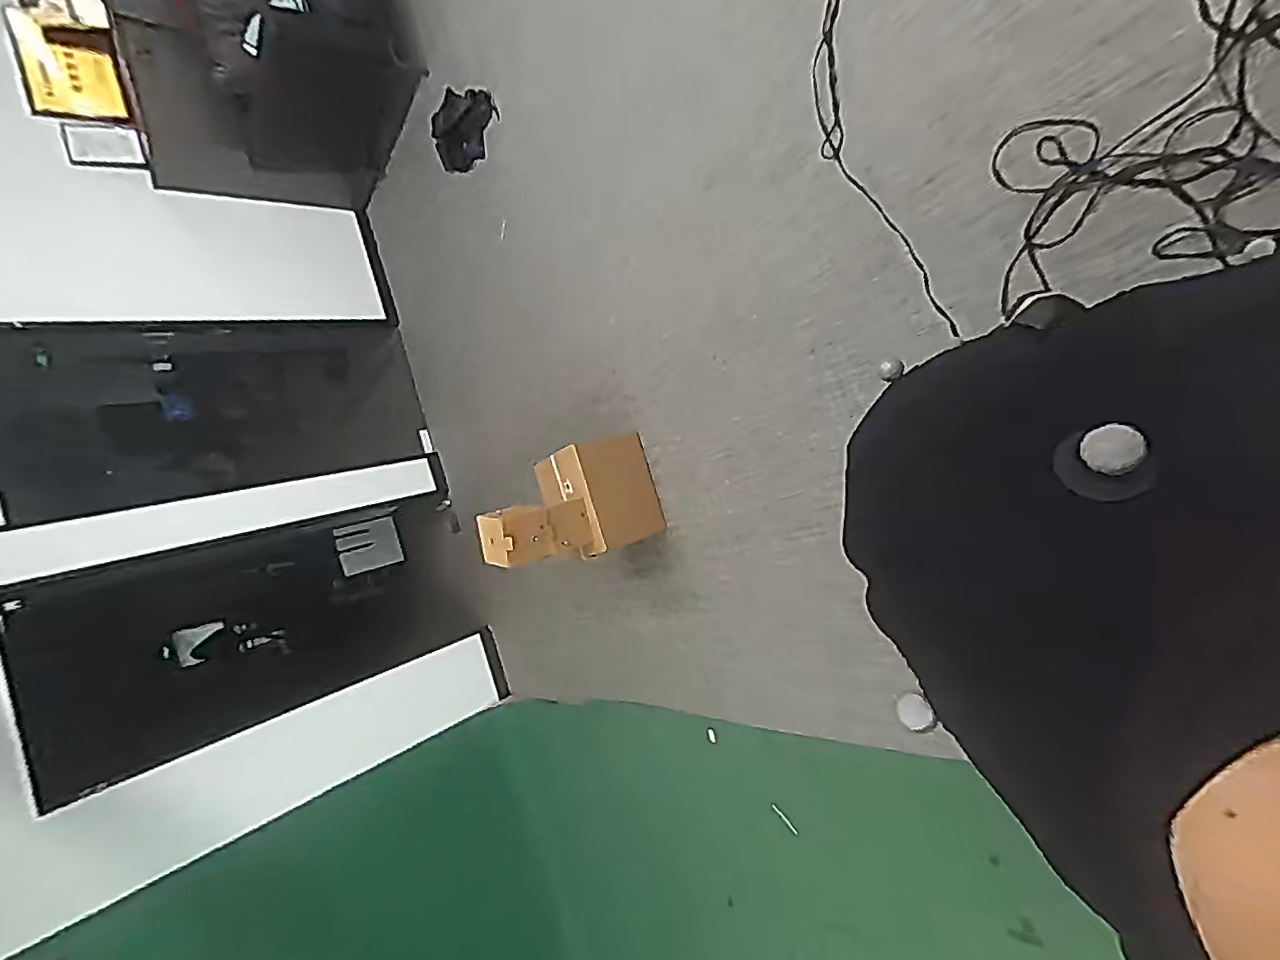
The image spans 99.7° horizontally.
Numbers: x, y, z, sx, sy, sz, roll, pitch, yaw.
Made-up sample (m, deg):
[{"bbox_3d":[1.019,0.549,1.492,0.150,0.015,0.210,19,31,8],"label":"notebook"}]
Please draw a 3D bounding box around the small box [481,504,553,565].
[{"bbox_3d":[-0.416,0.179,1.832,0.179,0.176,0.168,0,101,48],"label":"small box"}]

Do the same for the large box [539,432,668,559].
[{"bbox_3d":[-0.142,0.060,2.113,0.320,0.320,0.408,-21,84,48],"label":"large box"}]
